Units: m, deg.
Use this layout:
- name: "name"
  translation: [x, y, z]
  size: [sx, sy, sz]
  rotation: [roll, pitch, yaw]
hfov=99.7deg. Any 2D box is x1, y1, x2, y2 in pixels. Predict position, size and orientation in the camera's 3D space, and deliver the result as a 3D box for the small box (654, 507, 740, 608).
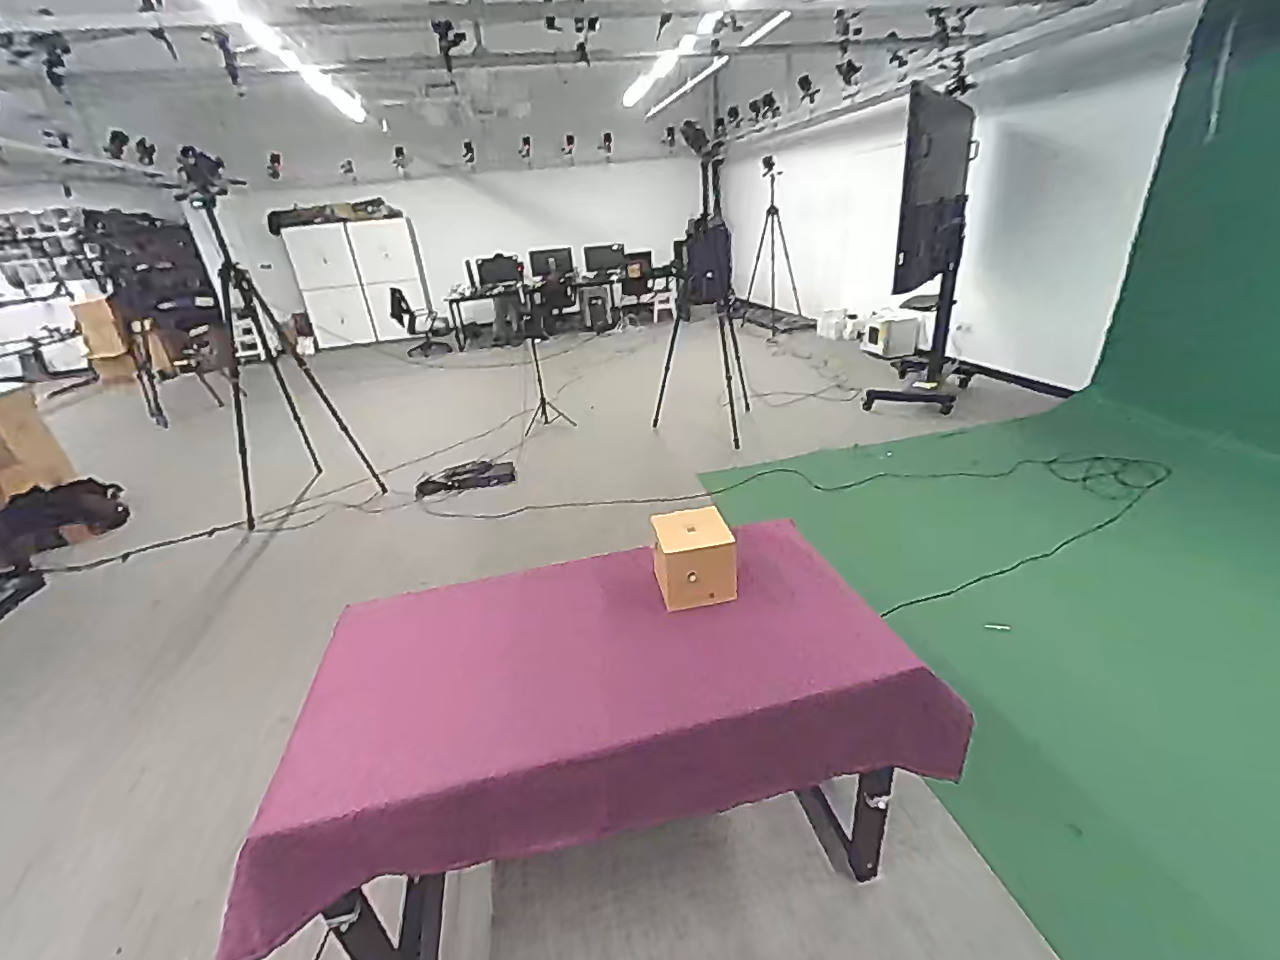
- name: "small box"
  translation: [0.136, 0.190, 1.299]
  size: [0.168, 0.176, 0.179]
  rotation: [-10, 25, -5]
